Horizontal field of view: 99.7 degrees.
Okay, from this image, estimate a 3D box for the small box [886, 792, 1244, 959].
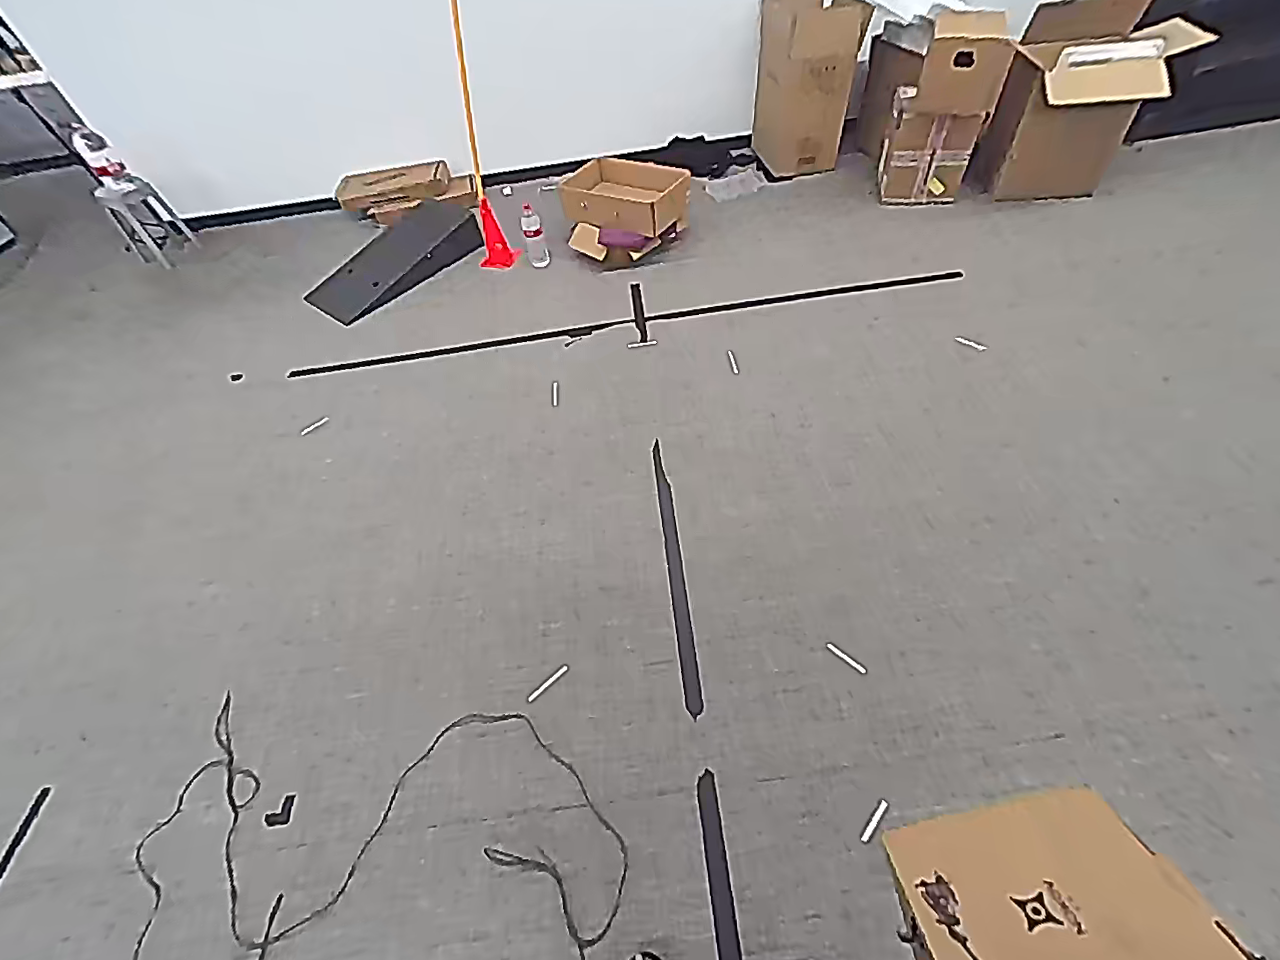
[{"bbox_3d":[0.315,0.379,0.403,0.179,0.176,0.168,-17,13,7],"label":"small box"}]
